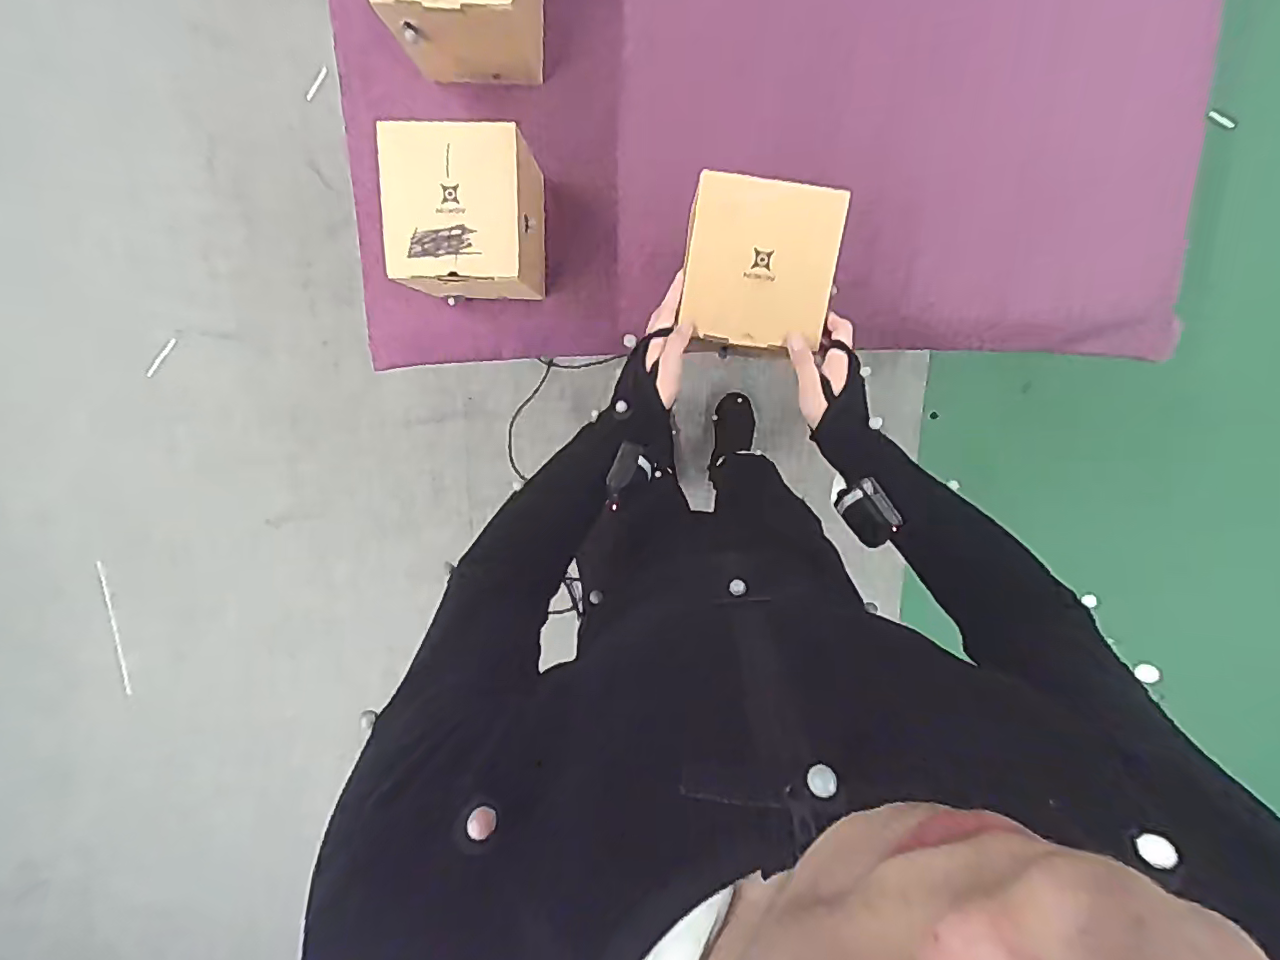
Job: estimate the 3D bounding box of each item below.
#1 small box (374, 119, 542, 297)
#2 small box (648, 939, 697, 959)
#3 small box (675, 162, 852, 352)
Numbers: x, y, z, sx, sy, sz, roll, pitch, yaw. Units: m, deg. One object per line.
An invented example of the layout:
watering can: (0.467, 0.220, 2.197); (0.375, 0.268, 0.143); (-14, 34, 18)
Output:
small box: (-0.225, -0.343, 0.715); (0.168, 0.176, 0.179); (1, 100, 0)
small box: (0.108, 1.703, 1.819); (0.168, 0.176, 0.179); (4, 102, 0)
small box: (0.138, -0.261, 0.674); (0.168, 0.176, 0.179); (8, 102, -1)
